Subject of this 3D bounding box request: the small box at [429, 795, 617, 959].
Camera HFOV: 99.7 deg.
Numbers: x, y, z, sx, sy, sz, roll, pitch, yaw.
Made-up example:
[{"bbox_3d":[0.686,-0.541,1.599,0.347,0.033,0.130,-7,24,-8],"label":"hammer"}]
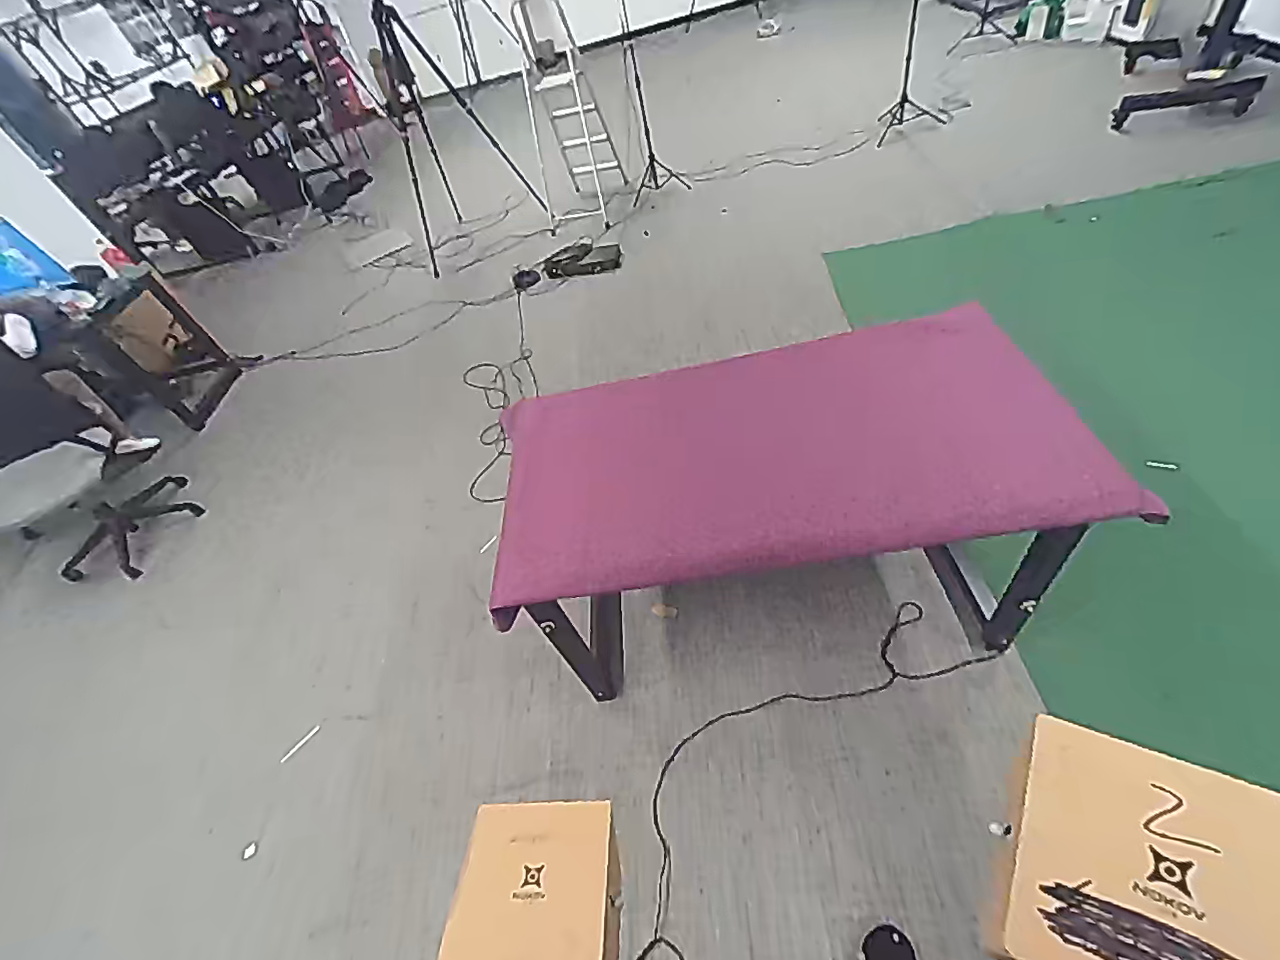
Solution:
[{"bbox_3d":[-0.117,0.499,0.620,0.168,0.176,0.179,-3,25,2],"label":"small box"}]
